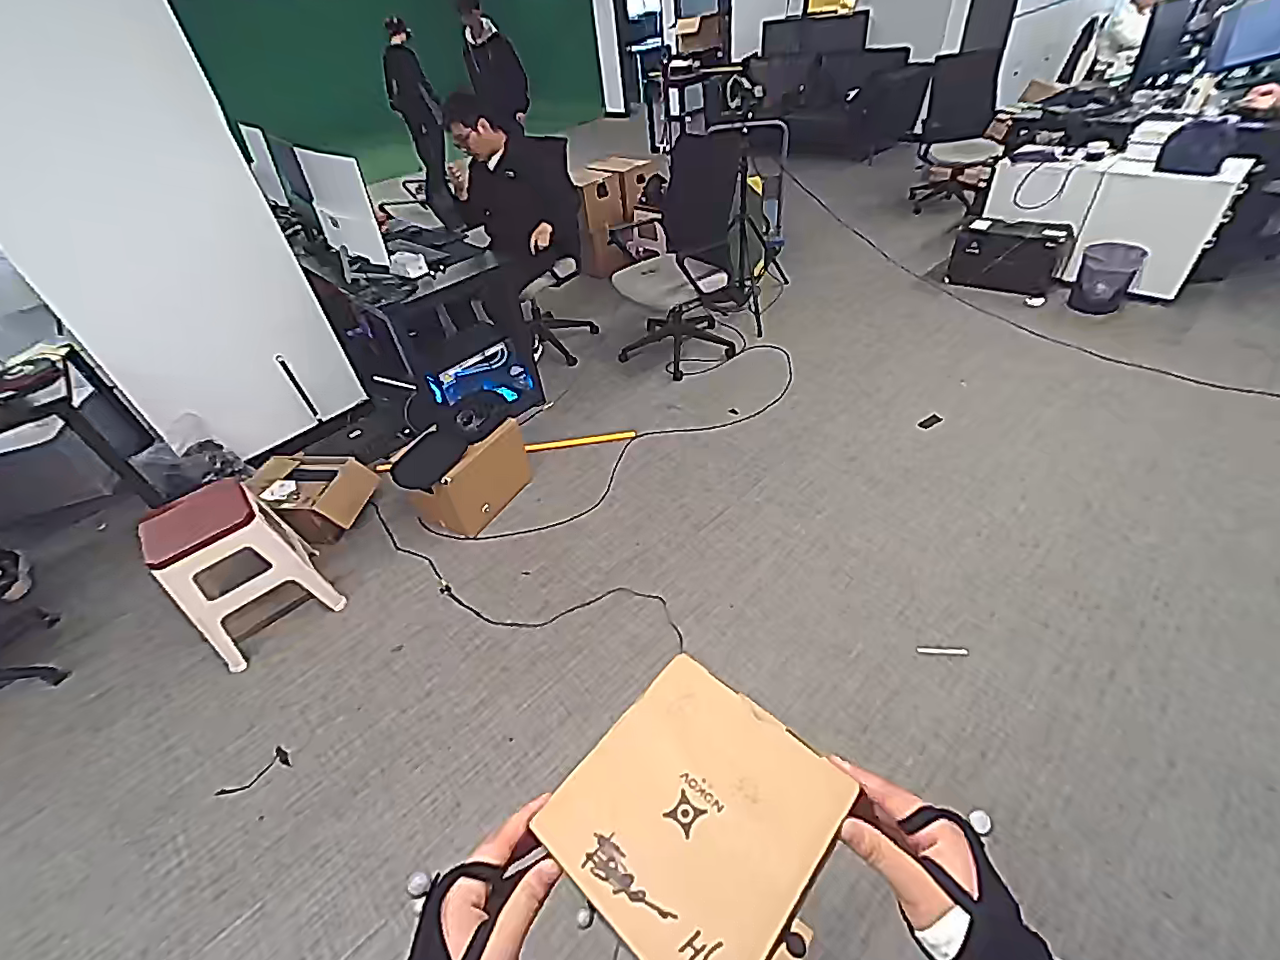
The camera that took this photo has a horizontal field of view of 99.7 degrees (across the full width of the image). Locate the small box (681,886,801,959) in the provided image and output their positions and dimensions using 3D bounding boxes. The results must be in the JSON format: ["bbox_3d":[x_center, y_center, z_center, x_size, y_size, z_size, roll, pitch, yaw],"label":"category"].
[{"bbox_3d":[0.194,0.963,1.069,0.168,0.176,0.179,29,54,34],"label":"small box"}]
